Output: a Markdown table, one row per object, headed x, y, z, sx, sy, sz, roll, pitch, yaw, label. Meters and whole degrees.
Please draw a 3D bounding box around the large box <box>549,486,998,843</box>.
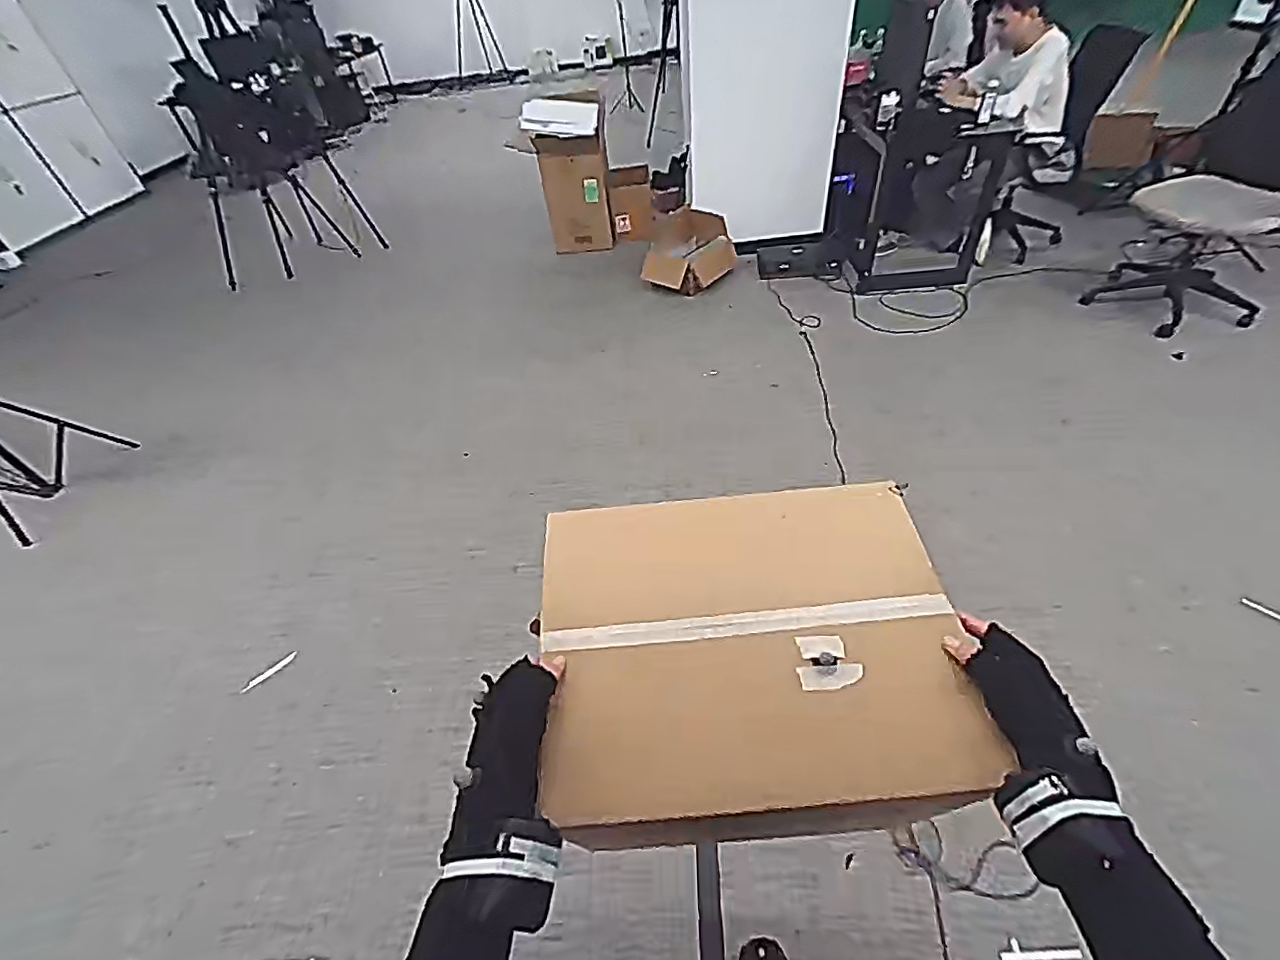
| x | y | z | sx | sy | sz | roll | pitch | yaw | label |
| --- | --- | --- | --- | --- | --- | --- | --- | --- | --- |
| 0.112 | 0.238 | 0.674 | 0.408 | 0.320 | 0.320 | -6 | 53 | 0 | large box |
